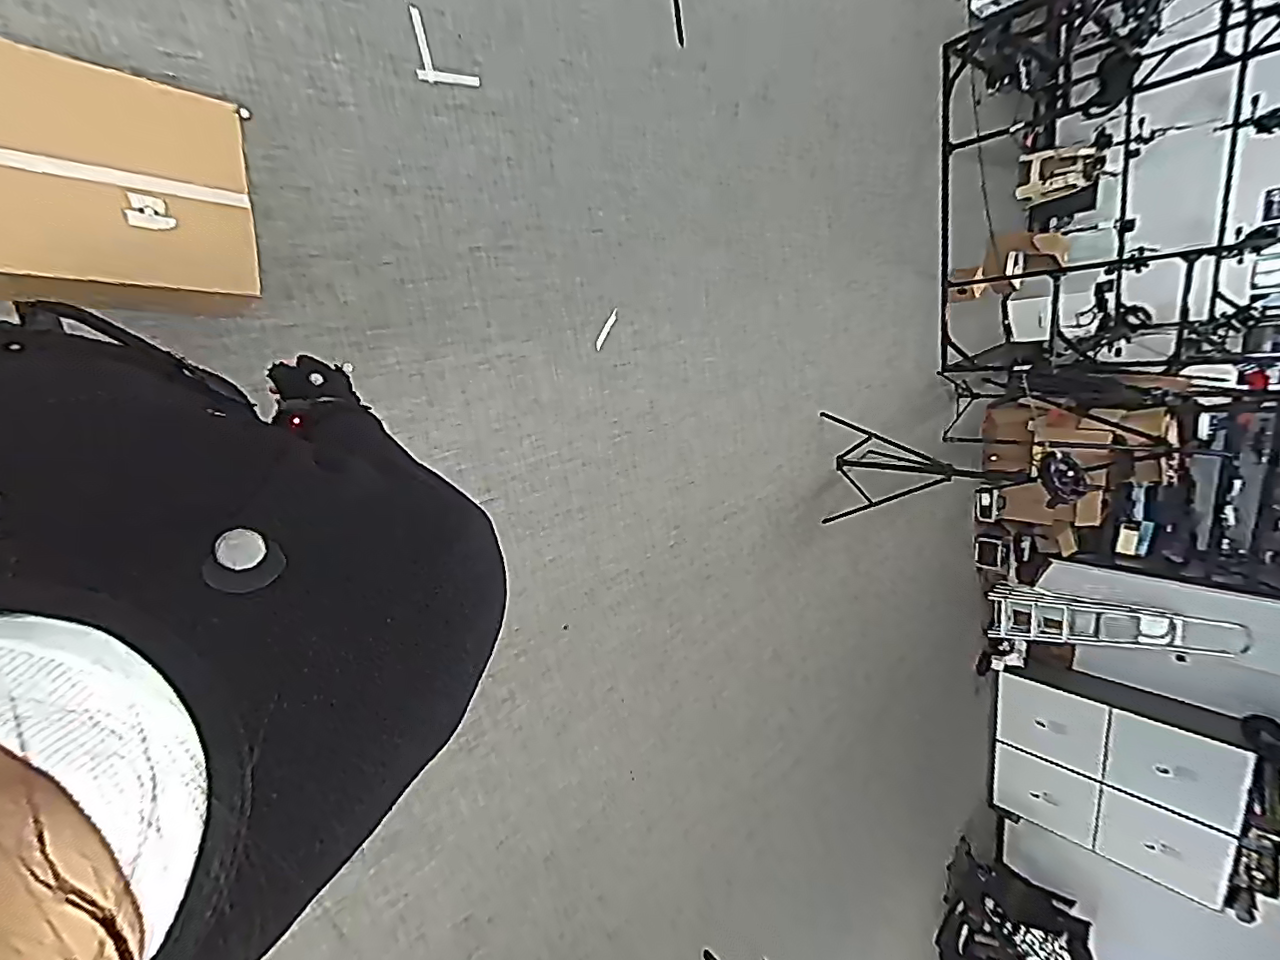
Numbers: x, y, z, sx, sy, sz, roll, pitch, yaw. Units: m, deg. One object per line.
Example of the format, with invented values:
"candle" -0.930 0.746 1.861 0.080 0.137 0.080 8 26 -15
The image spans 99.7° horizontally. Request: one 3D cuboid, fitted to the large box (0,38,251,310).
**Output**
"large box" -0.943 -0.481 0.914 0.408 0.320 0.320 -9 102 -42
